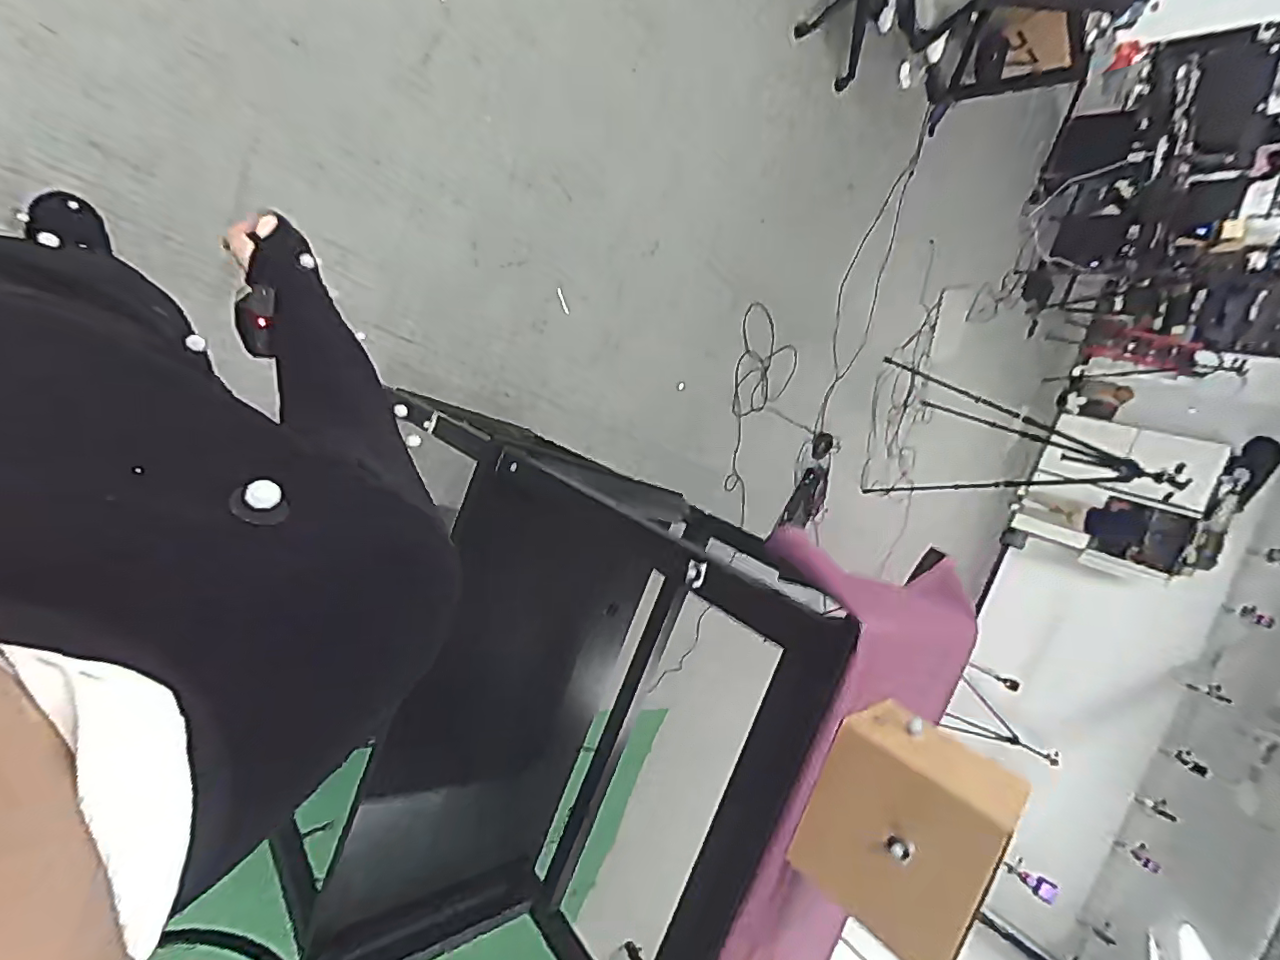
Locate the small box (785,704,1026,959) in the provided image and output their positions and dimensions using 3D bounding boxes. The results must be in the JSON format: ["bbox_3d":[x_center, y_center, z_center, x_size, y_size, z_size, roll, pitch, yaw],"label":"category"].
[{"bbox_3d":[0.285,0.380,0.596,0.168,0.176,0.179,15,97,-48],"label":"small box"}]
